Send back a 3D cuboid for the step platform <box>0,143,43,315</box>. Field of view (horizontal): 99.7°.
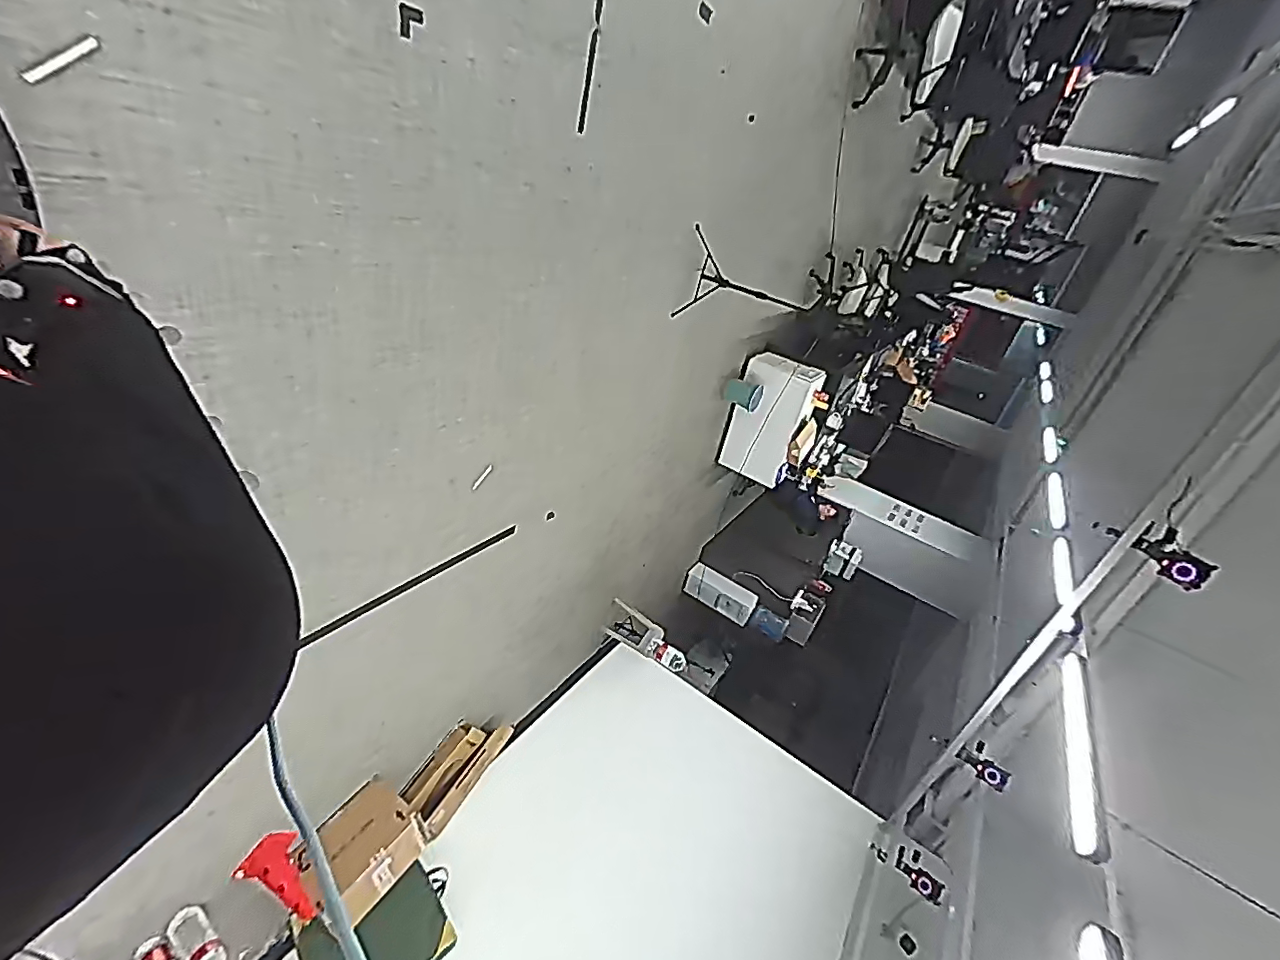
[{"bbox_3d":[-1.265,-0.372,0.685,0.684,0.204,0.286,-23,134,-53],"label":"step platform"}]
